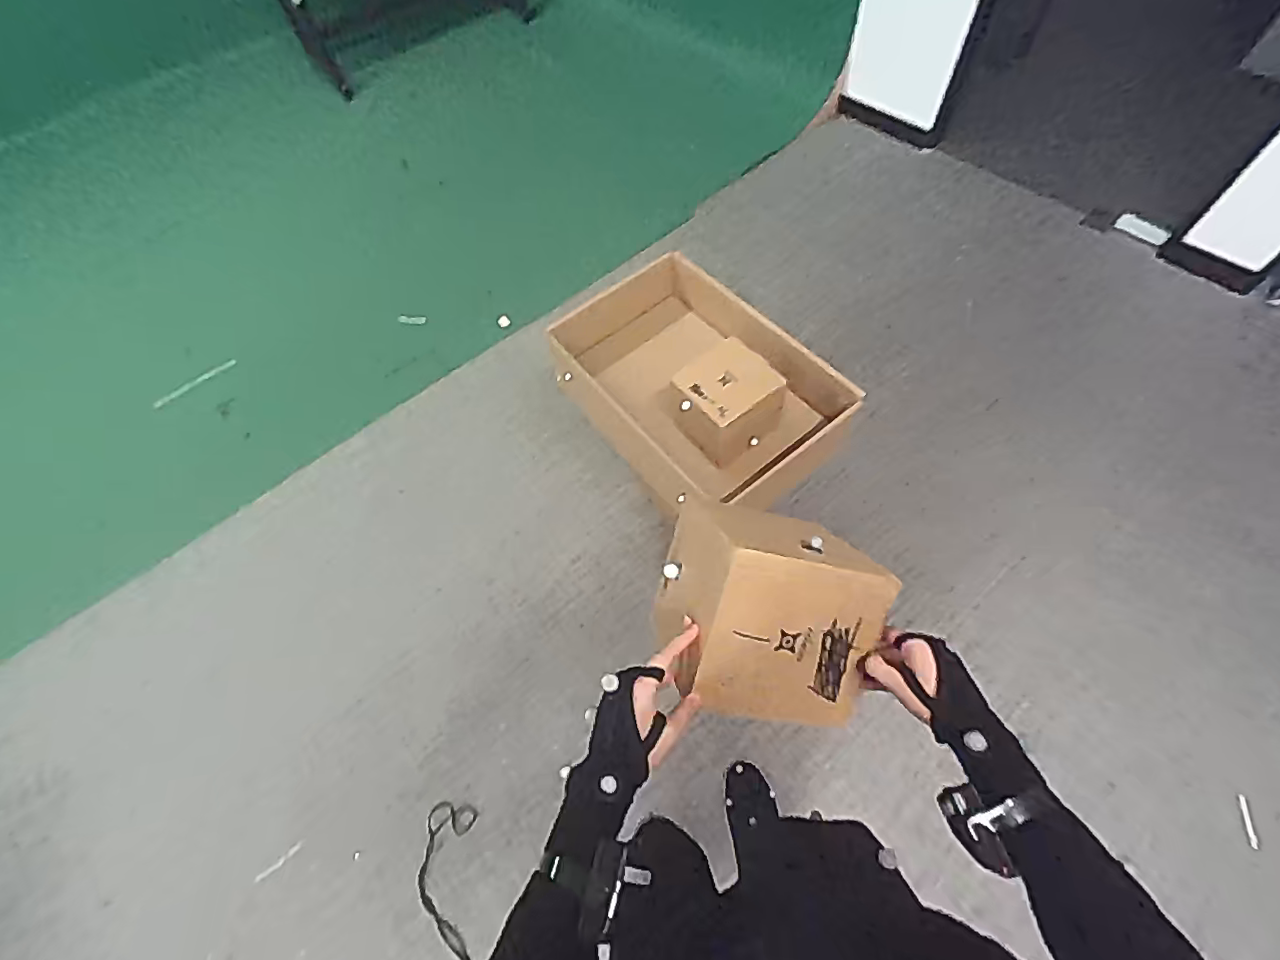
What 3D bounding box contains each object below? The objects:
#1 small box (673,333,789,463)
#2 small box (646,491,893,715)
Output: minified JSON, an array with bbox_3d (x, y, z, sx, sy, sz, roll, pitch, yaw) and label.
[{"bbox_3d":[0.187,-0.171,1.152,0.179,0.176,0.168,-34,62,-13],"label":"small box"},{"bbox_3d":[0.121,0.120,0.578,0.179,0.176,0.168,12,101,-14],"label":"small box"}]
